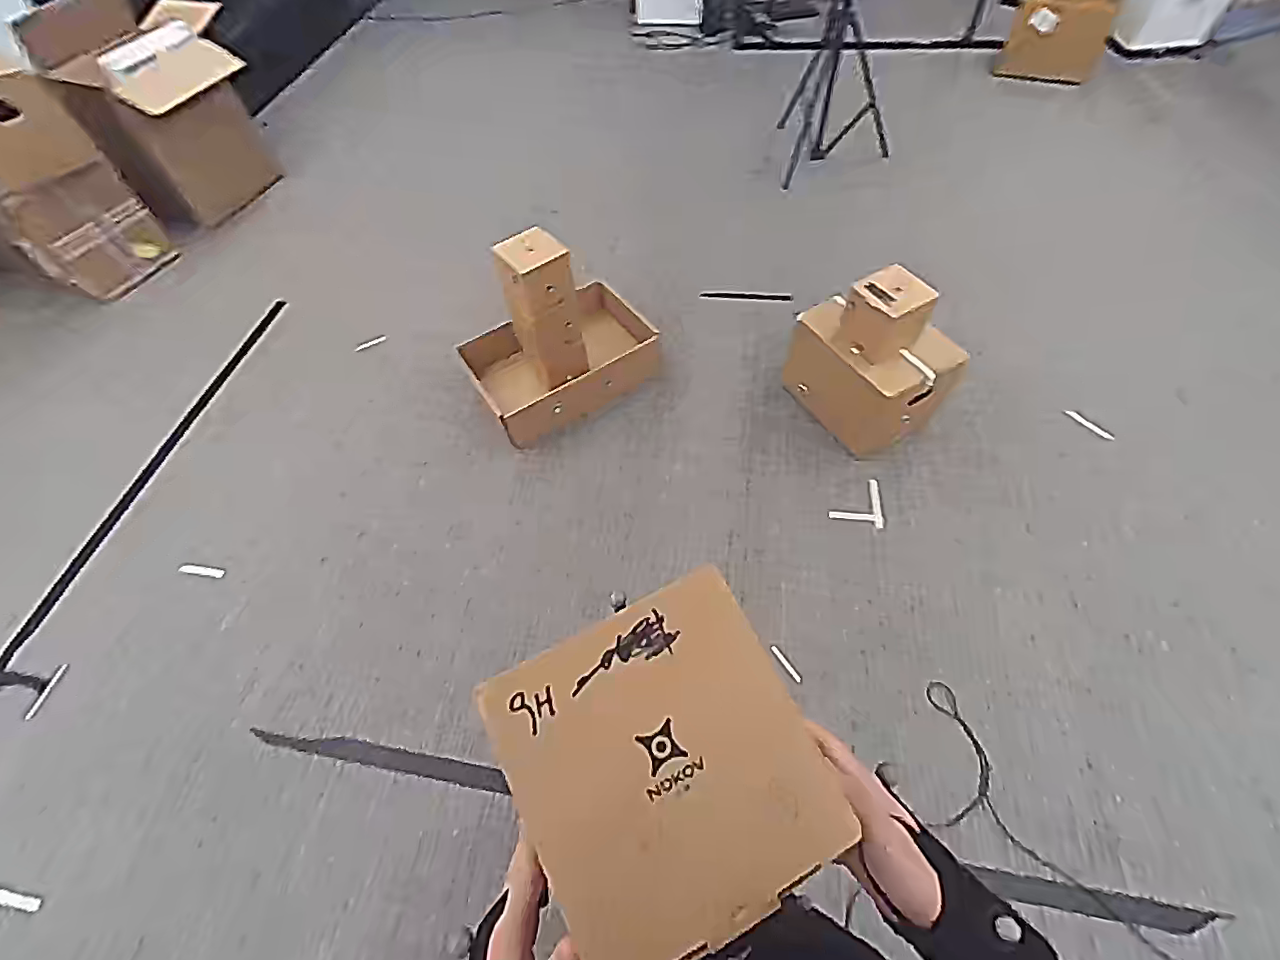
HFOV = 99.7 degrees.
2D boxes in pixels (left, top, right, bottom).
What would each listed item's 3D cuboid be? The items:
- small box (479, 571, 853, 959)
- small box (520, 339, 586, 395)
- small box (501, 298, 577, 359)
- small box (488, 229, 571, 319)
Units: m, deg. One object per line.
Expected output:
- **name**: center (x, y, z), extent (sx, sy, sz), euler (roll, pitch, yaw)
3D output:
- **small box**: center (0.008, 0.185, 0.387), extent (0.168, 0.176, 0.179), euler (-25, 77, -12)
- **small box**: center (-0.308, -0.434, 1.903), extent (0.168, 0.176, 0.179), euler (-32, 61, -16)
- **small box**: center (-0.323, -0.521, 1.767), extent (0.168, 0.176, 0.179), euler (-35, 60, -19)
- **small box**: center (-0.327, -0.614, 1.630), extent (0.168, 0.176, 0.179), euler (-35, 62, -20)
